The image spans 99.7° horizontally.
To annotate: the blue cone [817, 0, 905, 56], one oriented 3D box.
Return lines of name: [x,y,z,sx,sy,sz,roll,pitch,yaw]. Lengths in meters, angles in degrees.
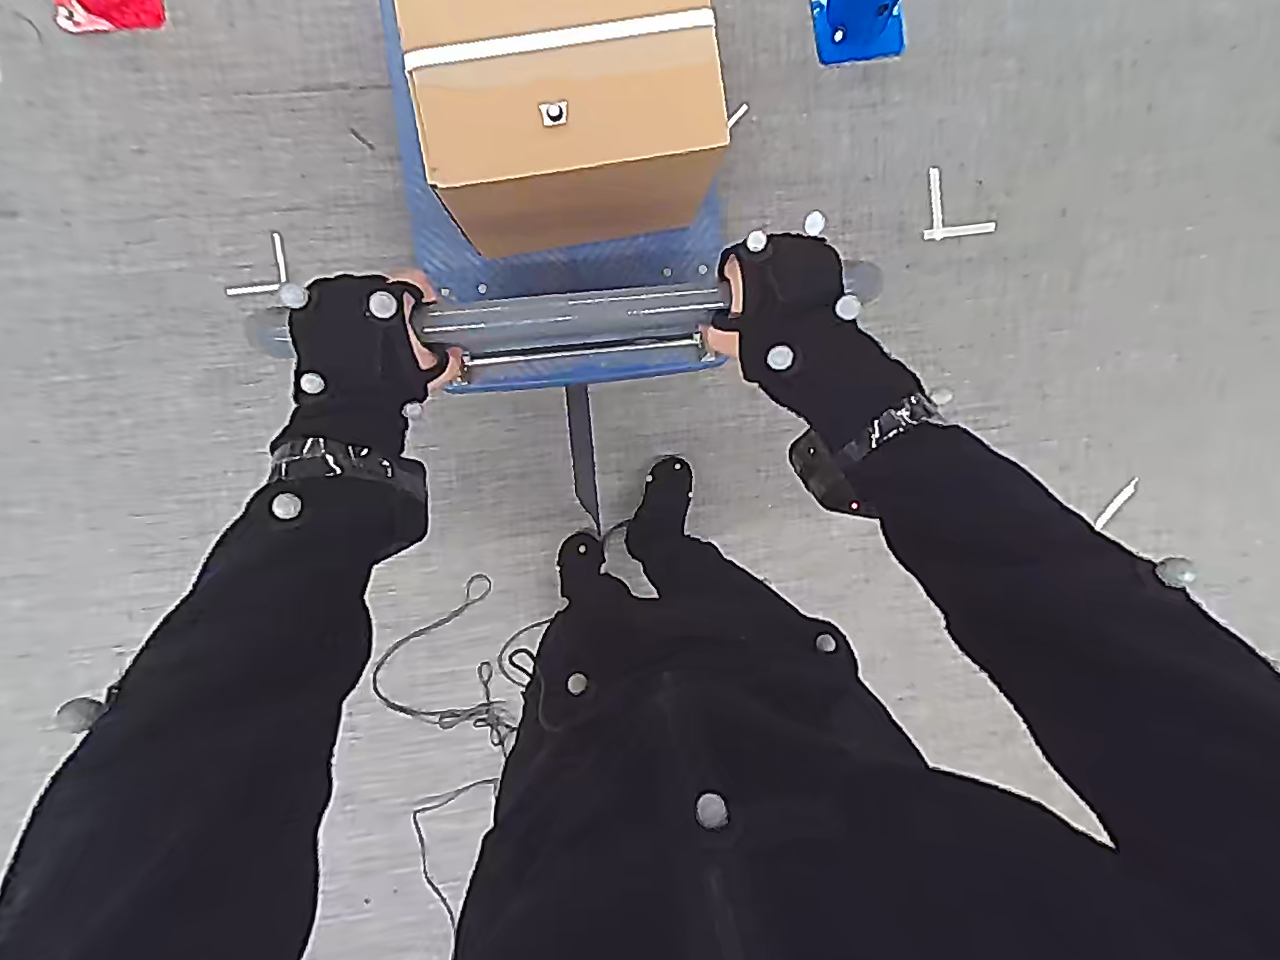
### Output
blue cone: [0.495,-1.016,1.017,0.193,0.380,0.192,-9,95,-4]
